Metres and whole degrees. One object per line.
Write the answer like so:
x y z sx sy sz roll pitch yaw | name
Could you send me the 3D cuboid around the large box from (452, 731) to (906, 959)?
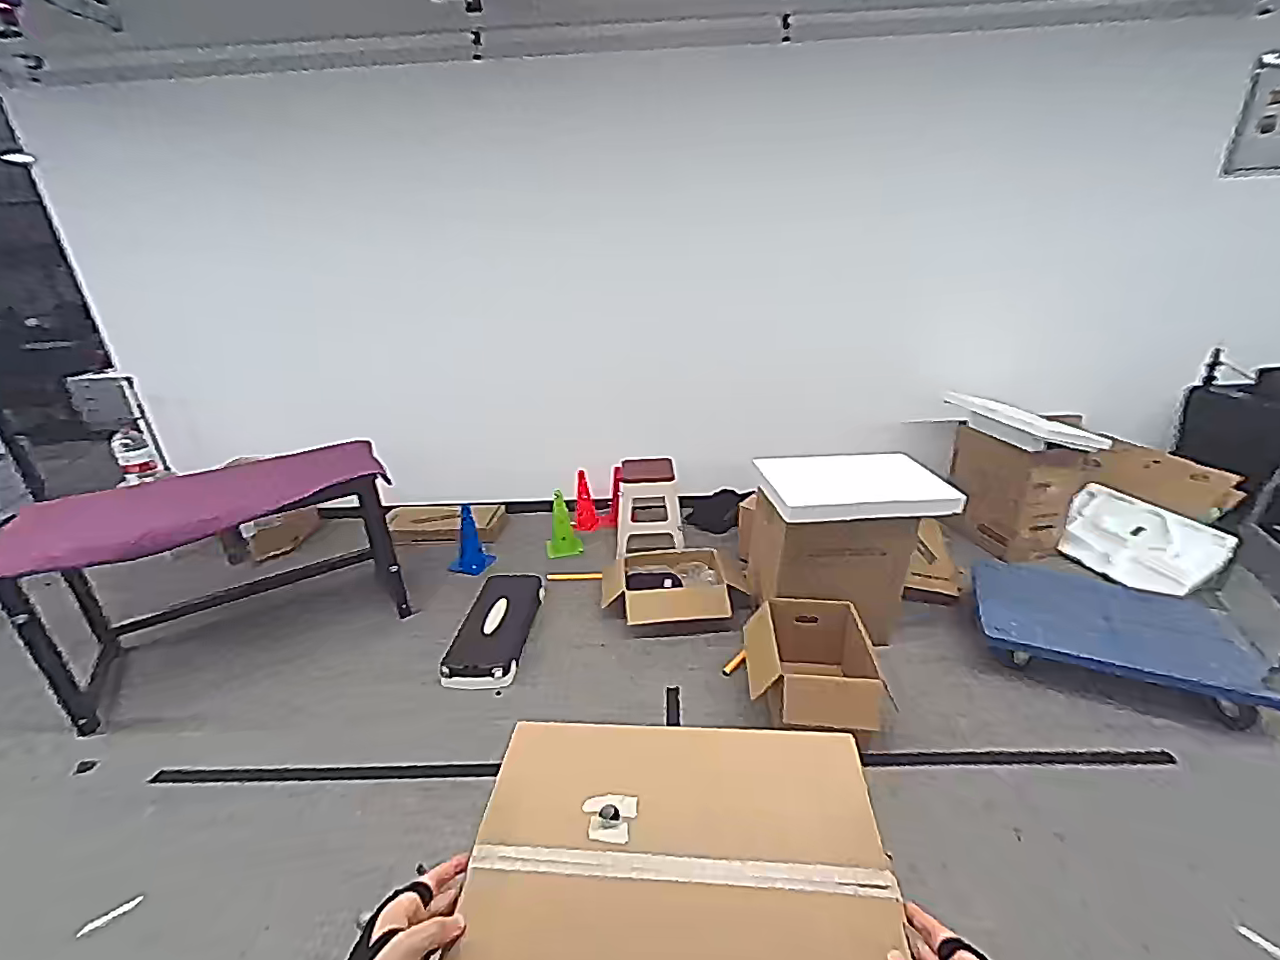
0.050 0.512 0.601 0.408 0.320 0.320 -3 29 7 | large box
